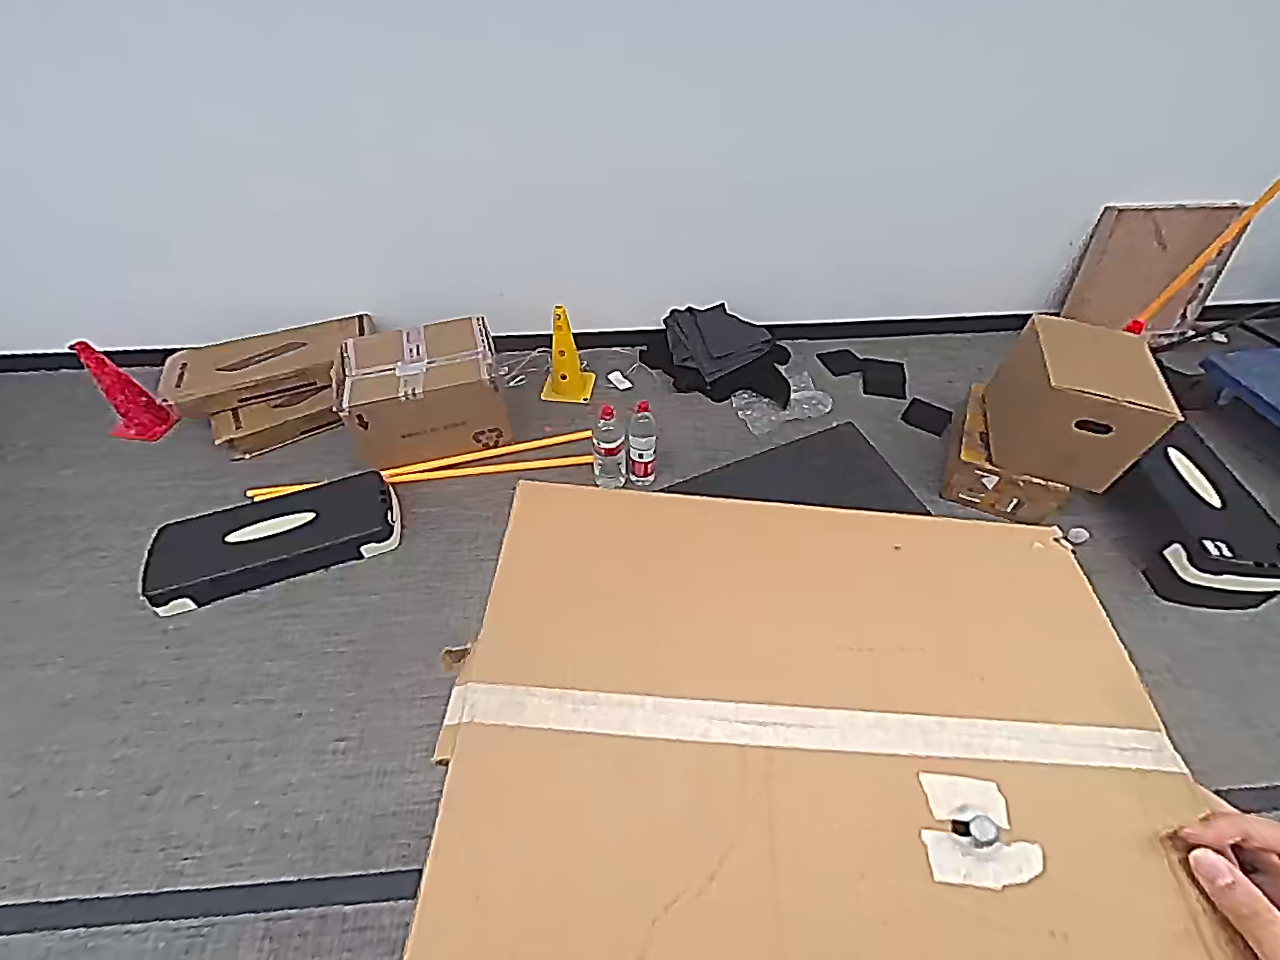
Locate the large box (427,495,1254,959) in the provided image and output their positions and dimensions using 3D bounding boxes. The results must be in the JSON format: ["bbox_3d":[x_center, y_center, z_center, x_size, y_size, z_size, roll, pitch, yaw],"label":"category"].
[{"bbox_3d":[0.091,0.237,0.430,0.408,0.320,0.320,6,52,-3],"label":"large box"}]
